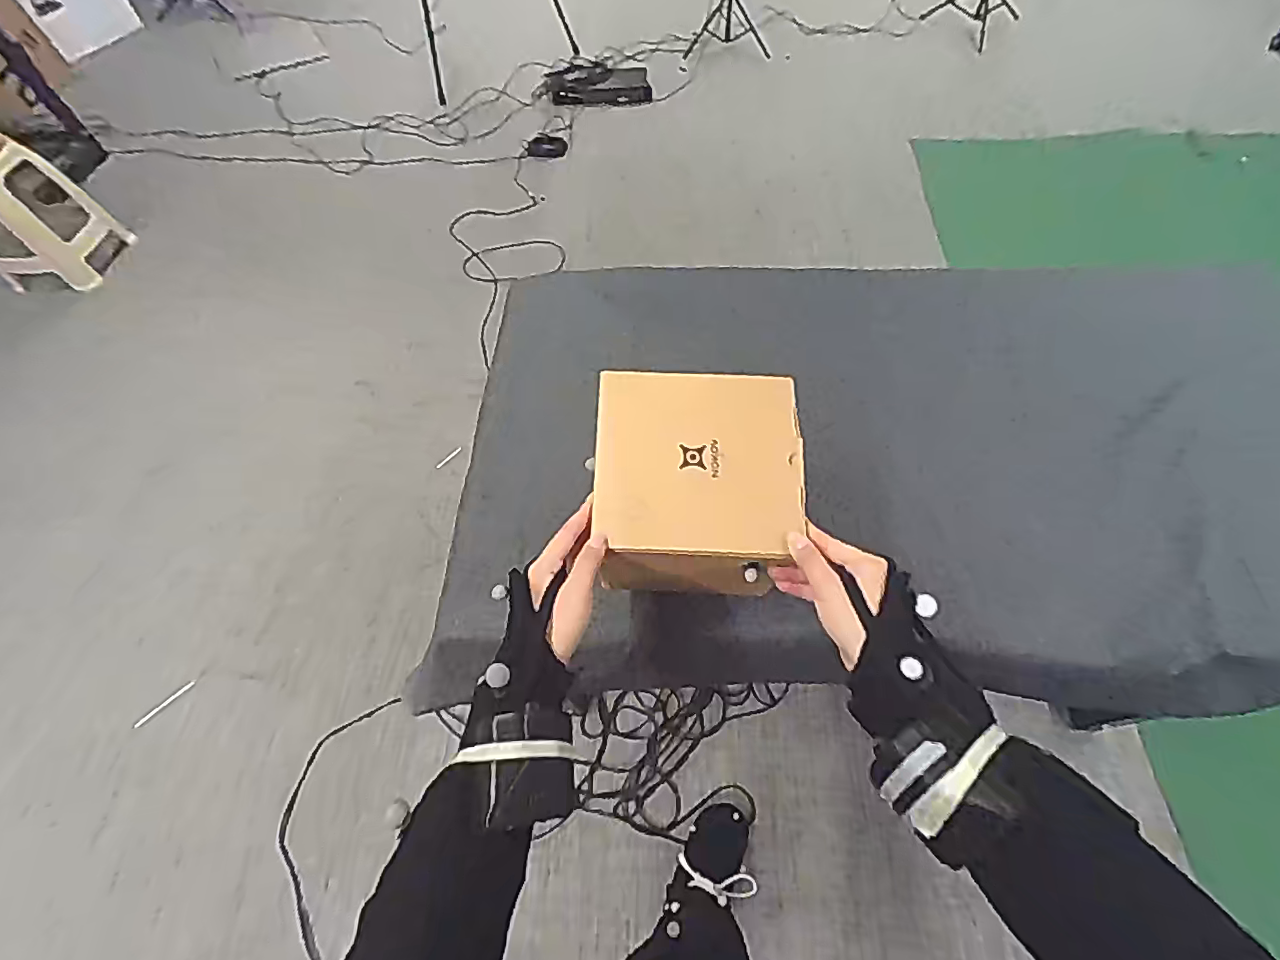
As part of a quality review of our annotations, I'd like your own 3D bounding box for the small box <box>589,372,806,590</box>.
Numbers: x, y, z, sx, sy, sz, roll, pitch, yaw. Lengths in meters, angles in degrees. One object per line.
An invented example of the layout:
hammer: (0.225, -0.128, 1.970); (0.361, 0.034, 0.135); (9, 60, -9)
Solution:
small box: (0.048, 0.011, 0.532); (0.179, 0.176, 0.168); (2, 68, 0)
